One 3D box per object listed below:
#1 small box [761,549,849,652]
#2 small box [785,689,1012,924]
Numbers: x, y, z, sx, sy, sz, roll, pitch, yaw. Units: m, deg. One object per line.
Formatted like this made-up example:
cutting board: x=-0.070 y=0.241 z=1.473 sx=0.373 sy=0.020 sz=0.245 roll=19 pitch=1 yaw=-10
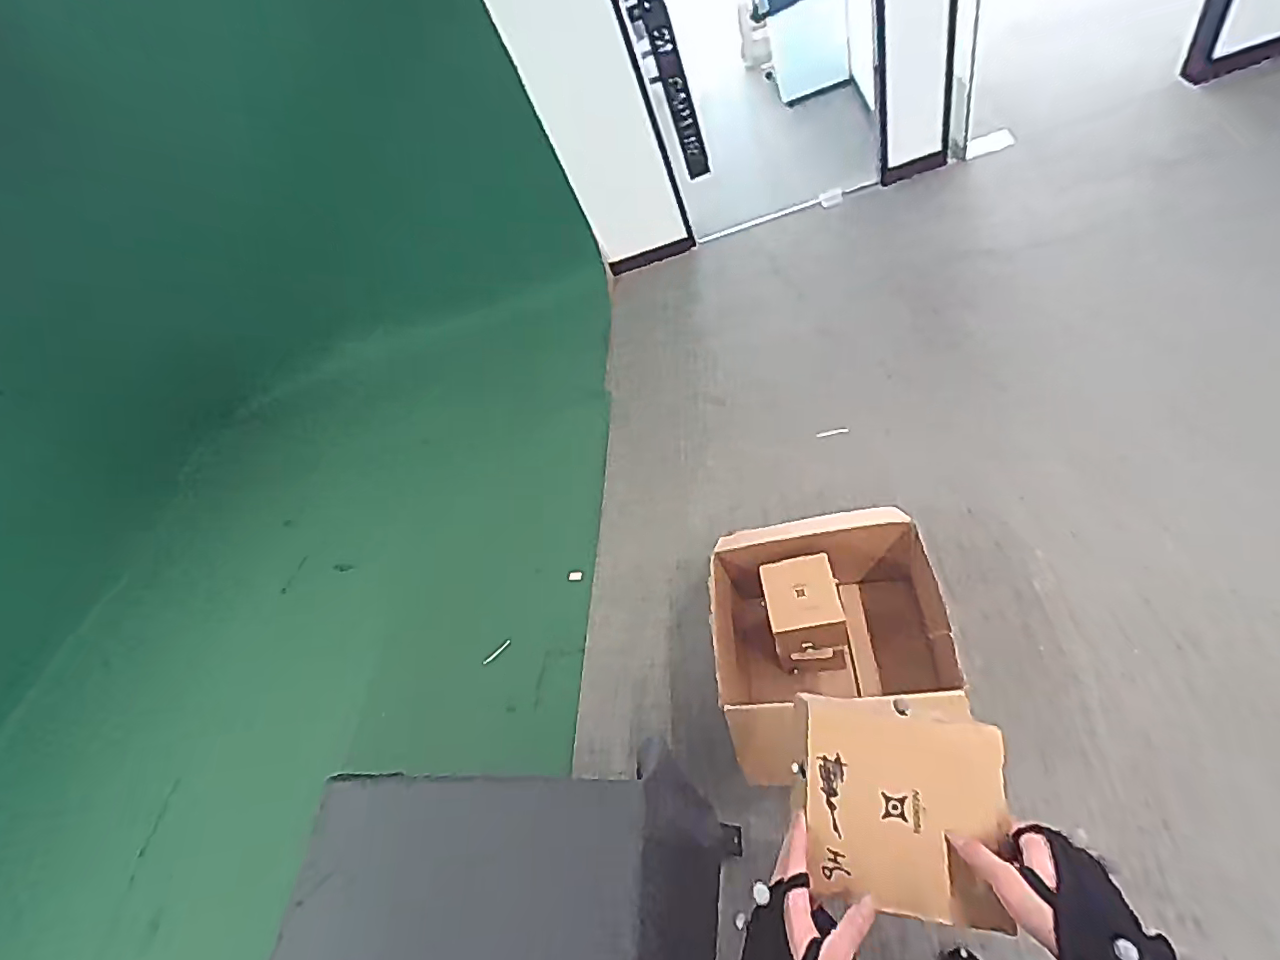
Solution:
small box: x=0.401 y=0.296 z=1.314 sx=0.168 sy=0.176 sz=0.179 roll=-15 pitch=52 yaw=12
small box: x=0.255 y=0.320 z=0.573 sx=0.179 sy=0.176 sz=0.168 roll=4 pitch=72 yaw=12
